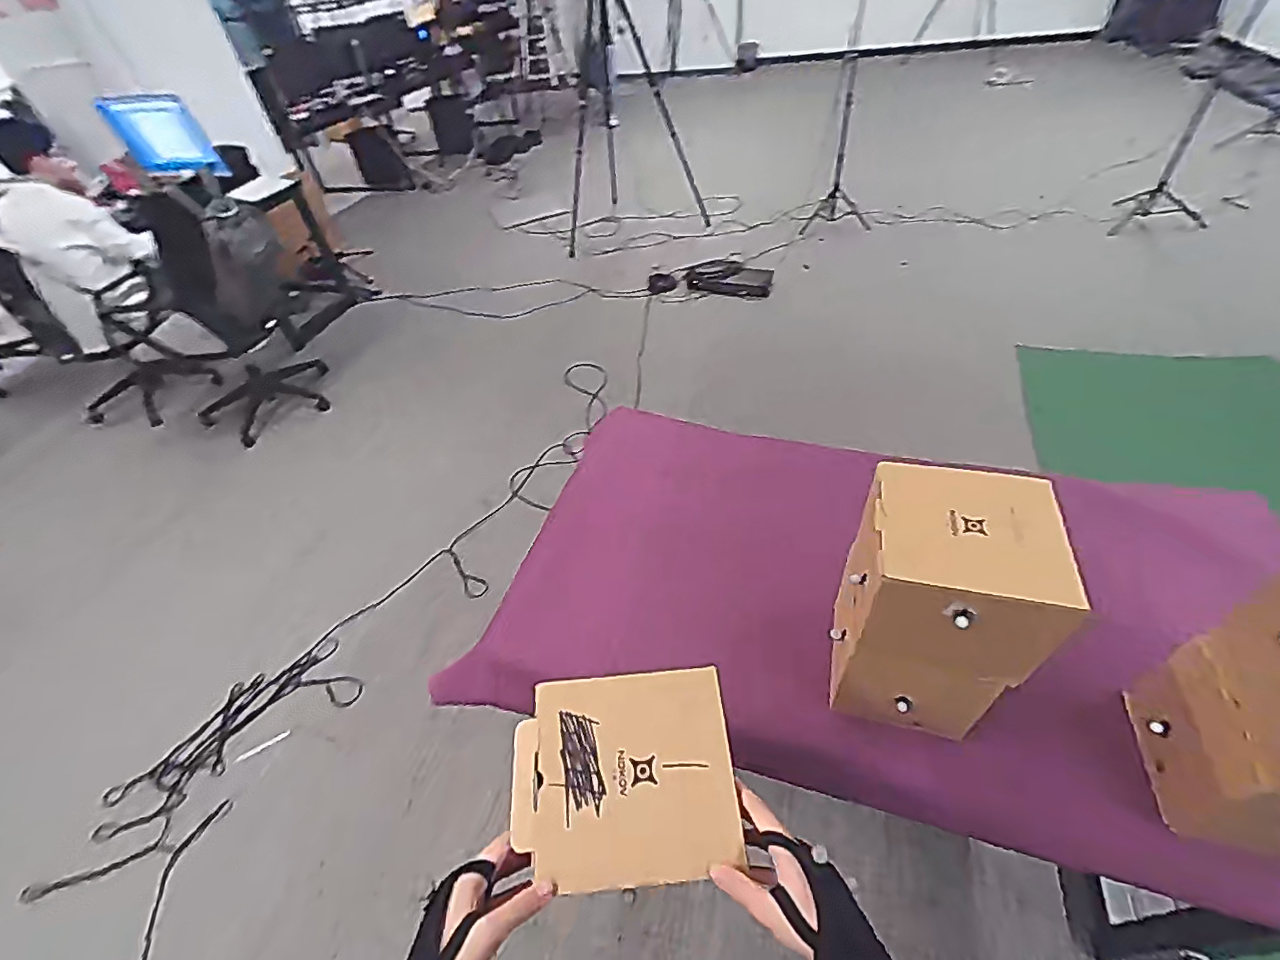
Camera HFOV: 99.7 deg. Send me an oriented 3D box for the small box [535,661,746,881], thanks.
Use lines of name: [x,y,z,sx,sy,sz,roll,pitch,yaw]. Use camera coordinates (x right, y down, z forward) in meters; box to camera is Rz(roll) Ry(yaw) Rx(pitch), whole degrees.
small box: [-0.001,0.297,0.546,0.179,0.176,0.168,-5,56,-1]

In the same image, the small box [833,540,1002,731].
small box: [0.359,0.210,0.729,0.168,0.176,0.179,7,46,16]

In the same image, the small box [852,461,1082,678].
small box: [0.343,0.100,0.609,0.179,0.176,0.168,7,48,16]

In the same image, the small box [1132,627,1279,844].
small box: [0.706,0.287,0.593,0.179,0.176,0.168,5,48,17]

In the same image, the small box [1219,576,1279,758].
small box: [0.687,0.172,0.477,0.168,0.176,0.179,5,47,18]
